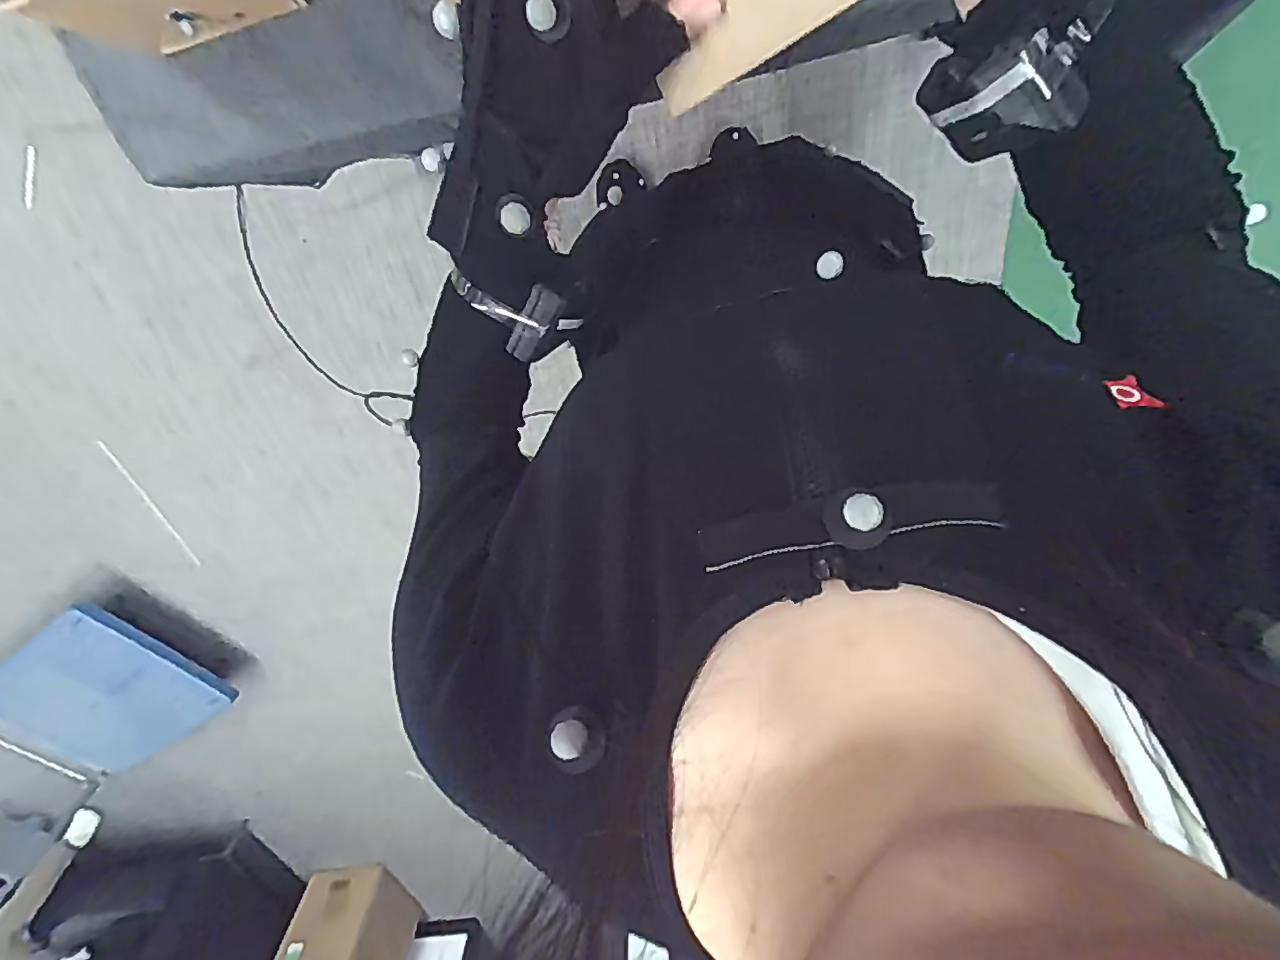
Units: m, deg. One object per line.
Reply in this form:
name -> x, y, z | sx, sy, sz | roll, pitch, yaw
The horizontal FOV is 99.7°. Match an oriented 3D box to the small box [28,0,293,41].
small box -> -0.413, -0.475, 0.410 | 0.168, 0.176, 0.179 | -12, 120, 7
